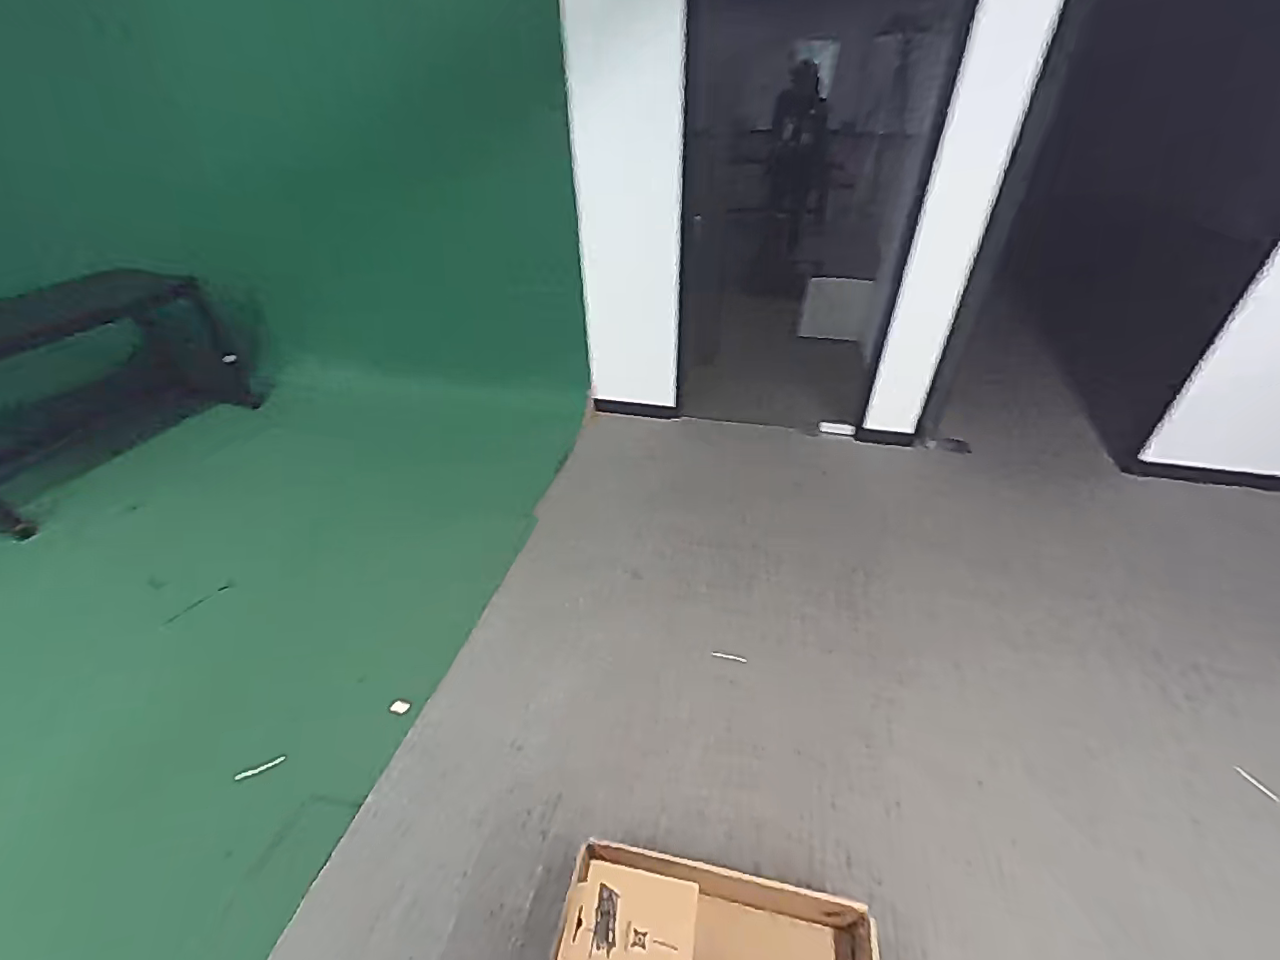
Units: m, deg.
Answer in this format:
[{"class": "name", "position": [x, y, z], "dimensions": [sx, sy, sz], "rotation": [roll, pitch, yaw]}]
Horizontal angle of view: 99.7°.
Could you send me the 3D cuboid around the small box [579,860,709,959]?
[{"class": "small box", "position": [0.009, 0.730, 0.841], "dimensions": [0.179, 0.176, 0.168], "rotation": [6, 41, 10]}]
